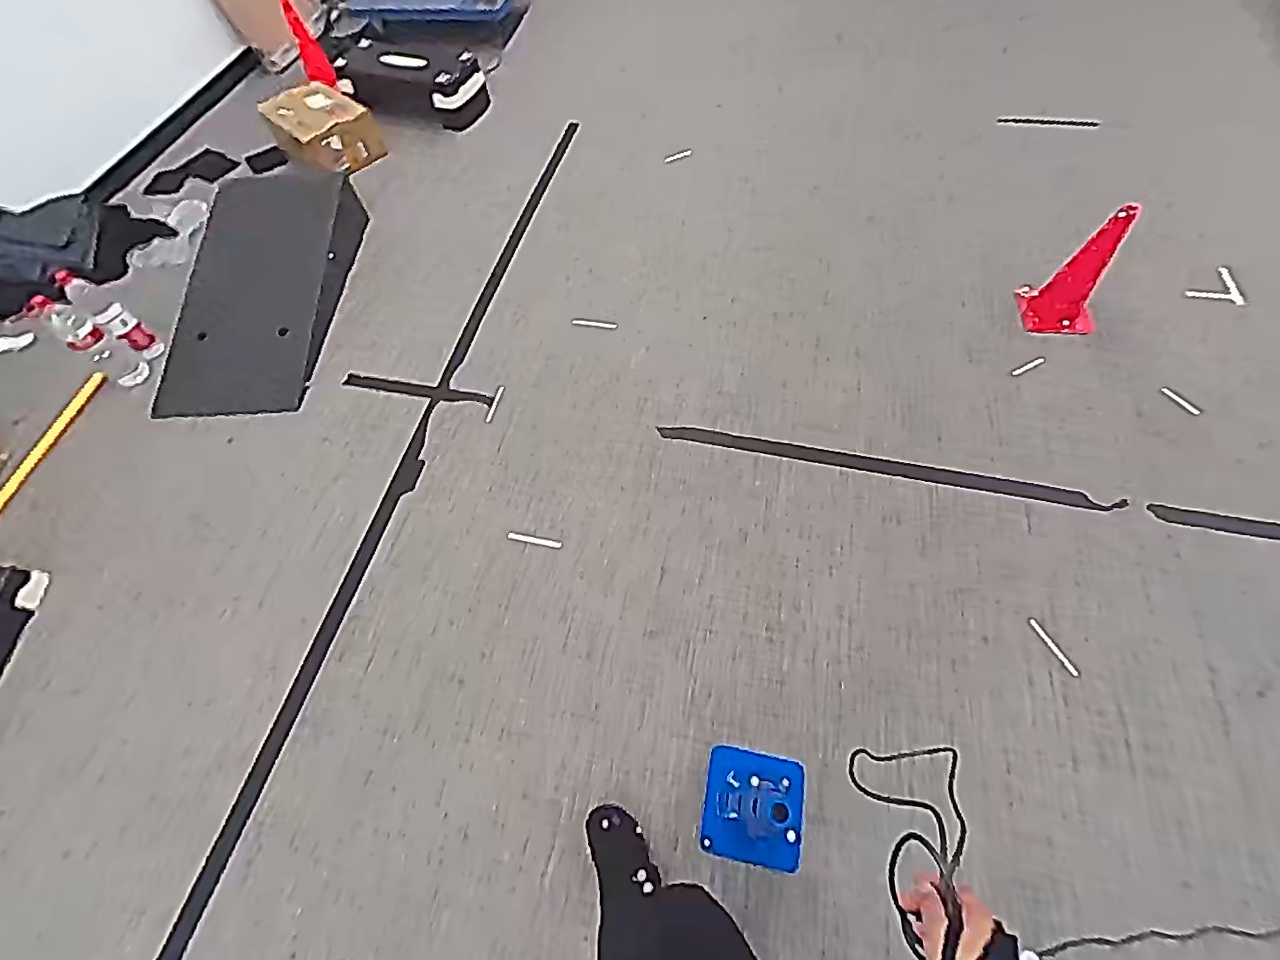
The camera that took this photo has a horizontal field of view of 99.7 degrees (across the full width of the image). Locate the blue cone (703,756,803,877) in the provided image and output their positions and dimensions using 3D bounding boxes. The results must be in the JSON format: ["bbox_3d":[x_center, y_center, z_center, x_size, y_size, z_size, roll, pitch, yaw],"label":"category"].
[{"bbox_3d":[0.220,0.598,0.956,0.193,0.380,0.192,10,62,10],"label":"blue cone"}]

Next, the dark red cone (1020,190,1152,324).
[{"bbox_3d":[1.309,-0.646,1.562,0.202,0.394,0.201,3,61,6],"label":"dark red cone"}]
